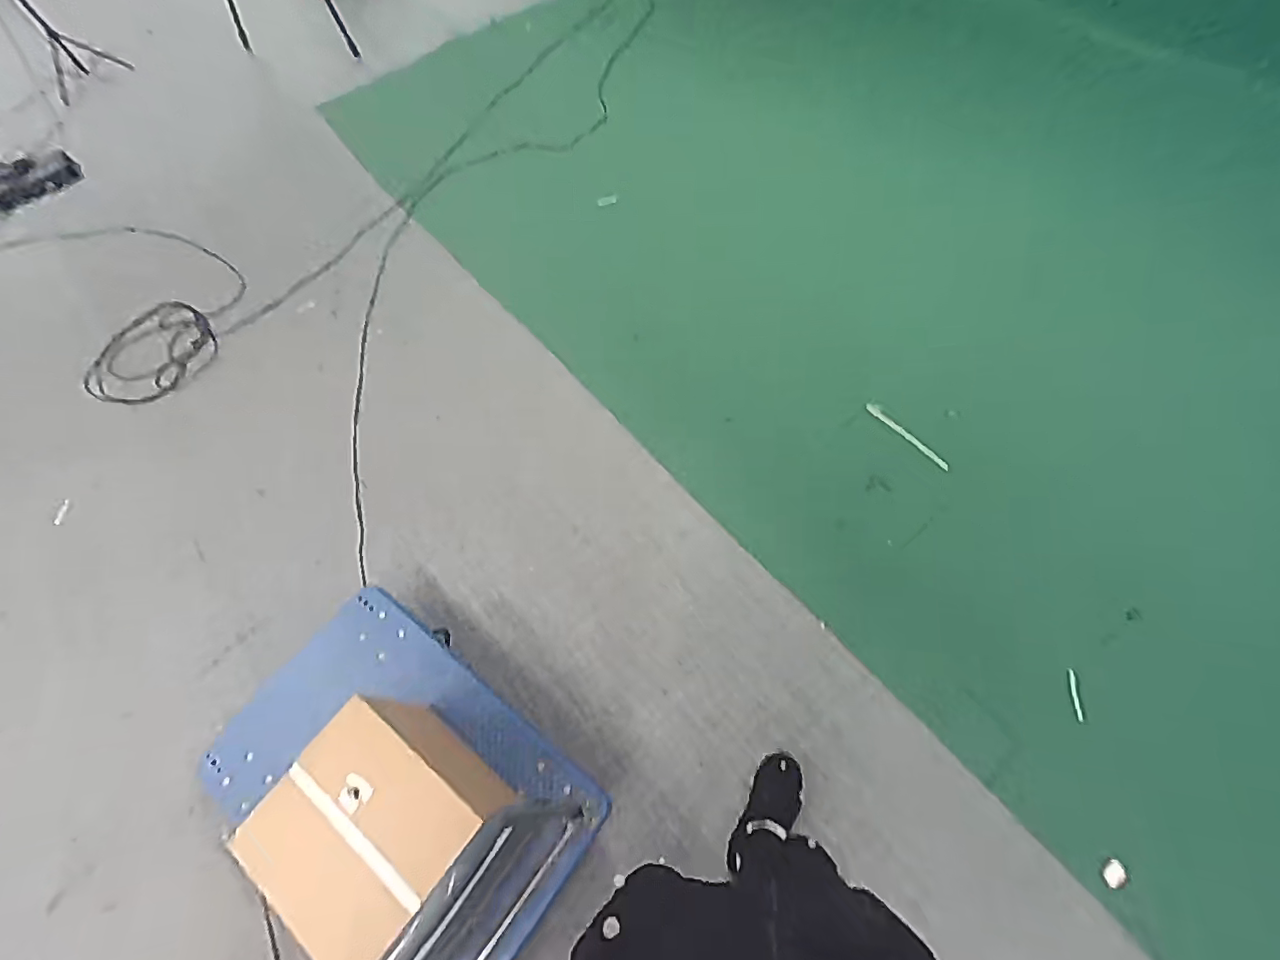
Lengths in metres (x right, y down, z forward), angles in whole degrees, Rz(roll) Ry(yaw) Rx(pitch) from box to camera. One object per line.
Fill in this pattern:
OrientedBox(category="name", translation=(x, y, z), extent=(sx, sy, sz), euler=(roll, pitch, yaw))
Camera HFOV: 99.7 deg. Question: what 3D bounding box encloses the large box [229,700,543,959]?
OrientedBox(category="large box", translation=(-0.469, 0.701, 1.073), extent=(0.408, 0.320, 0.320), euler=(32, 70, 20))
